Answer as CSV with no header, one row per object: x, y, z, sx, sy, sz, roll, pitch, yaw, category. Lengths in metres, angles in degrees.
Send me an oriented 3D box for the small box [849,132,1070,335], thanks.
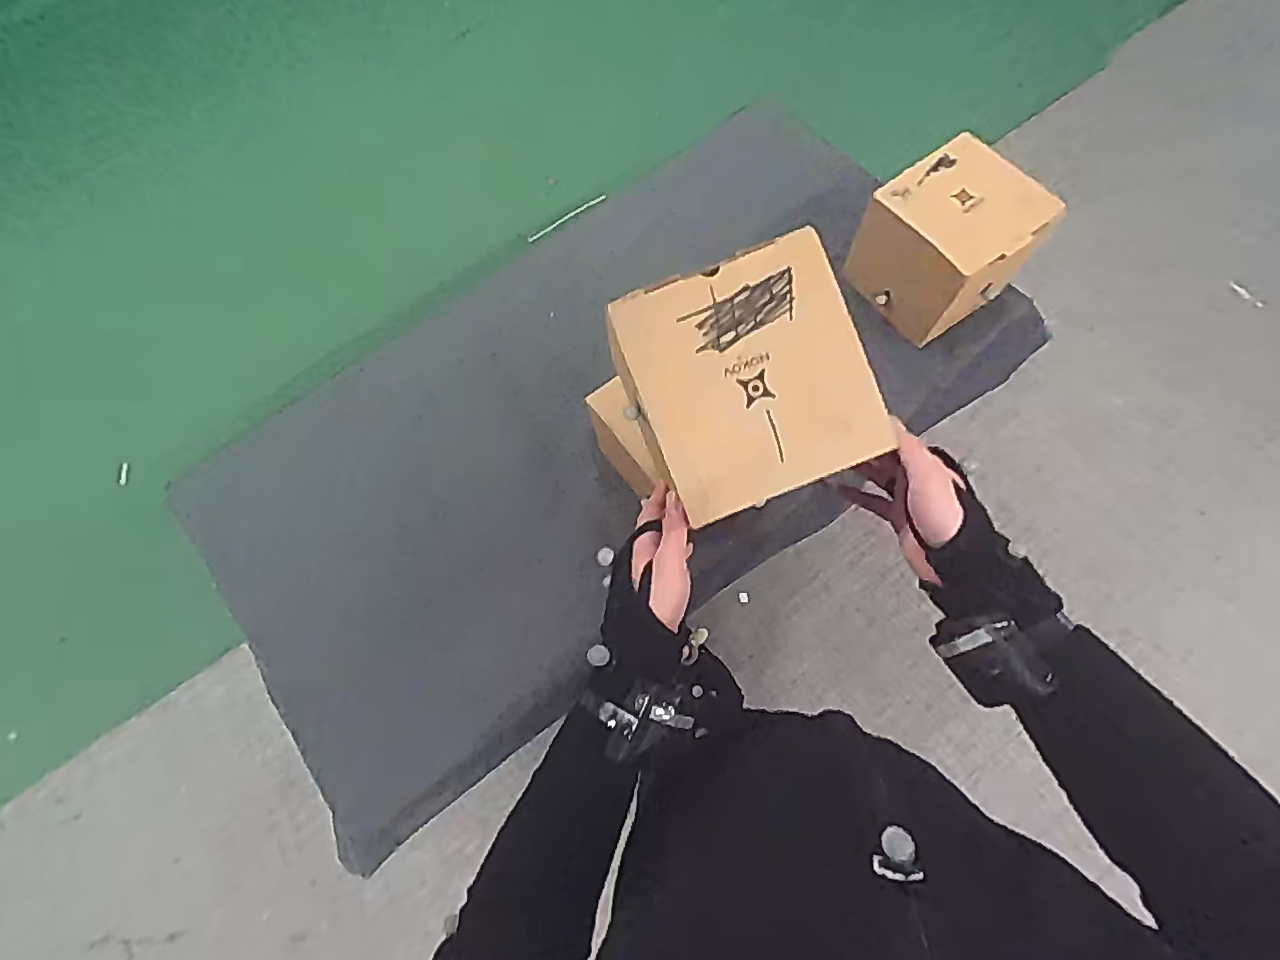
0.433,-0.333,0.769,0.168,0.176,0.179,-34,73,-5,small box

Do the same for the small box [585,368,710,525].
0.053,-0.059,0.703,0.168,0.176,0.179,-36,71,-10,small box

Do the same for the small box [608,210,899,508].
0.078,-0.085,0.463,0.168,0.176,0.179,-21,90,-1,small box
